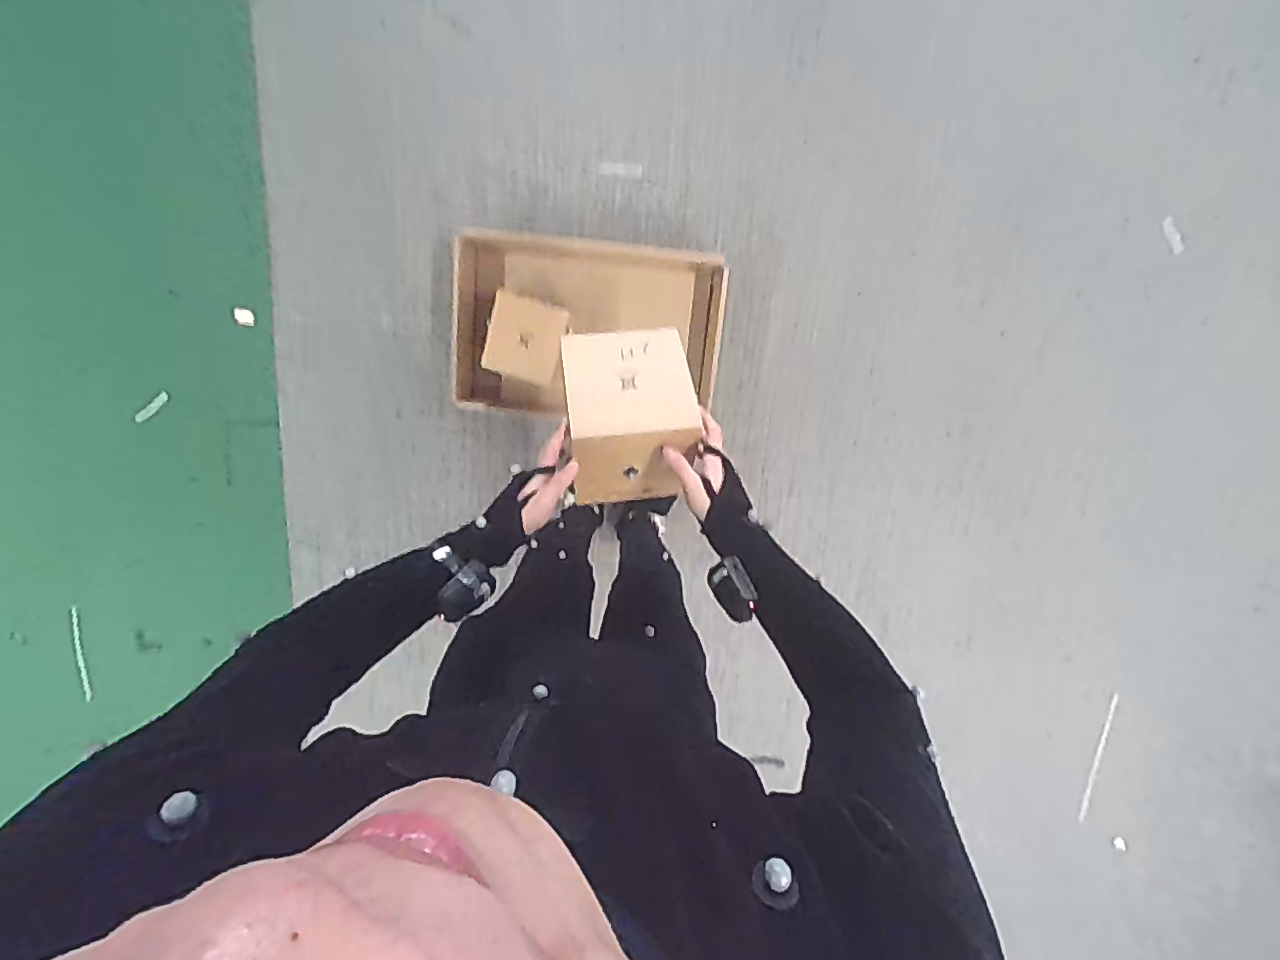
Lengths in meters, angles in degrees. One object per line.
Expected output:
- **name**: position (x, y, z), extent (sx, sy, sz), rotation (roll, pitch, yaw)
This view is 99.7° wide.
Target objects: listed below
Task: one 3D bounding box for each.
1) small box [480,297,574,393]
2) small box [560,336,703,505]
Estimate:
- **small box**: position (-0.263, -0.318, 1.297), extent (0.168, 0.176, 0.179), rotation (17, 100, -4)
- **small box**: position (-0.020, -0.075, 0.753), extent (0.168, 0.176, 0.179), rotation (-4, 58, -9)
